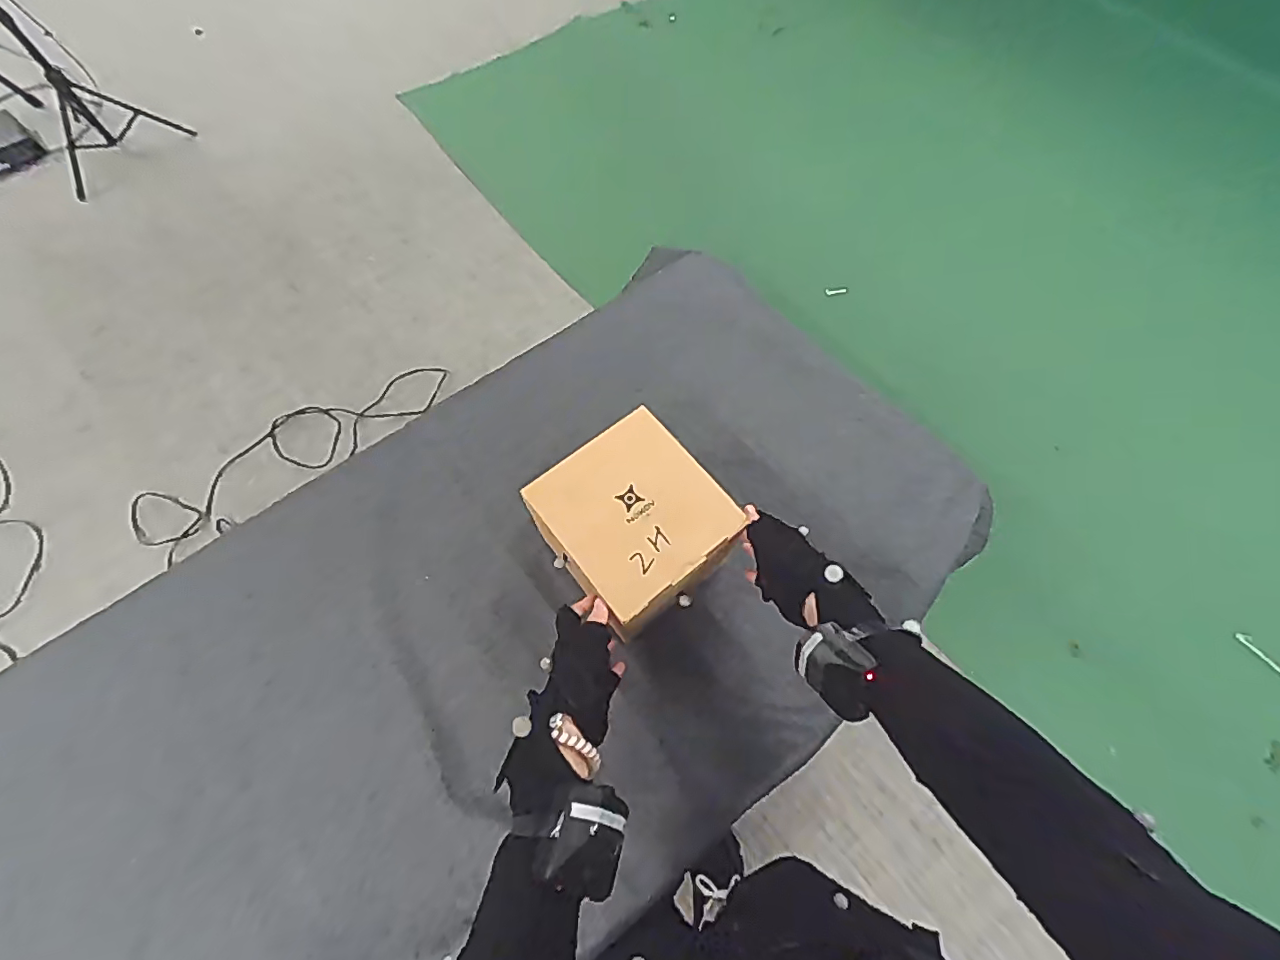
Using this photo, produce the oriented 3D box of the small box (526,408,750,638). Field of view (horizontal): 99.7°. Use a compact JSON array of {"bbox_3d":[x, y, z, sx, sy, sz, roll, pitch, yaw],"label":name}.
[{"bbox_3d":[-0.004,0.058,0.623,0.168,0.176,0.179,-36,71,-15],"label":"small box"}]
